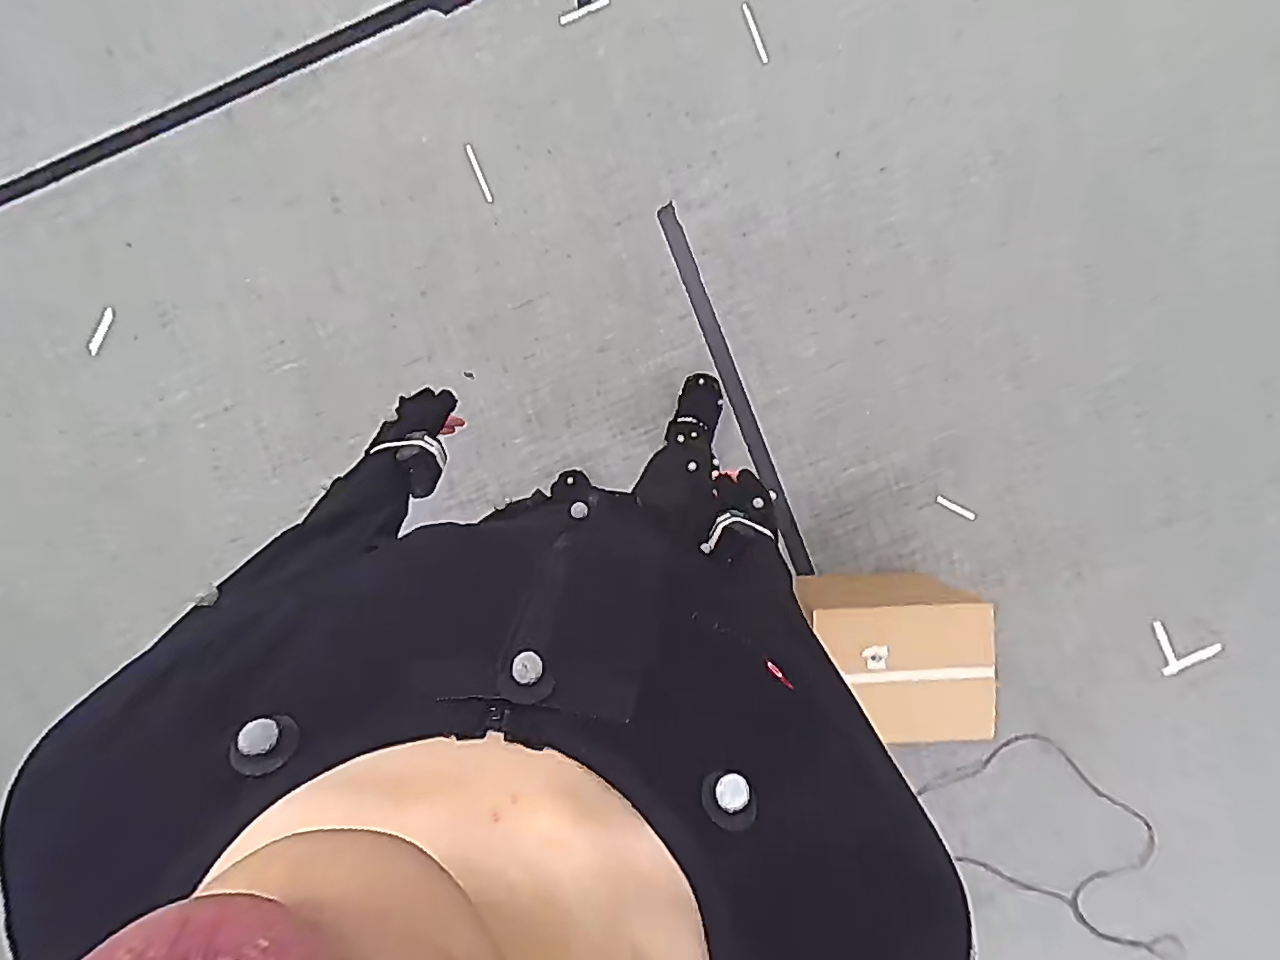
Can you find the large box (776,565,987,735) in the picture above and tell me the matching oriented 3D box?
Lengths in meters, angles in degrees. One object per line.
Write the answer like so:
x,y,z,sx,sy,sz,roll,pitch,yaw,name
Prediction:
0.581,0.406,1.362,0.408,0.320,0.320,-2,93,0,large box
